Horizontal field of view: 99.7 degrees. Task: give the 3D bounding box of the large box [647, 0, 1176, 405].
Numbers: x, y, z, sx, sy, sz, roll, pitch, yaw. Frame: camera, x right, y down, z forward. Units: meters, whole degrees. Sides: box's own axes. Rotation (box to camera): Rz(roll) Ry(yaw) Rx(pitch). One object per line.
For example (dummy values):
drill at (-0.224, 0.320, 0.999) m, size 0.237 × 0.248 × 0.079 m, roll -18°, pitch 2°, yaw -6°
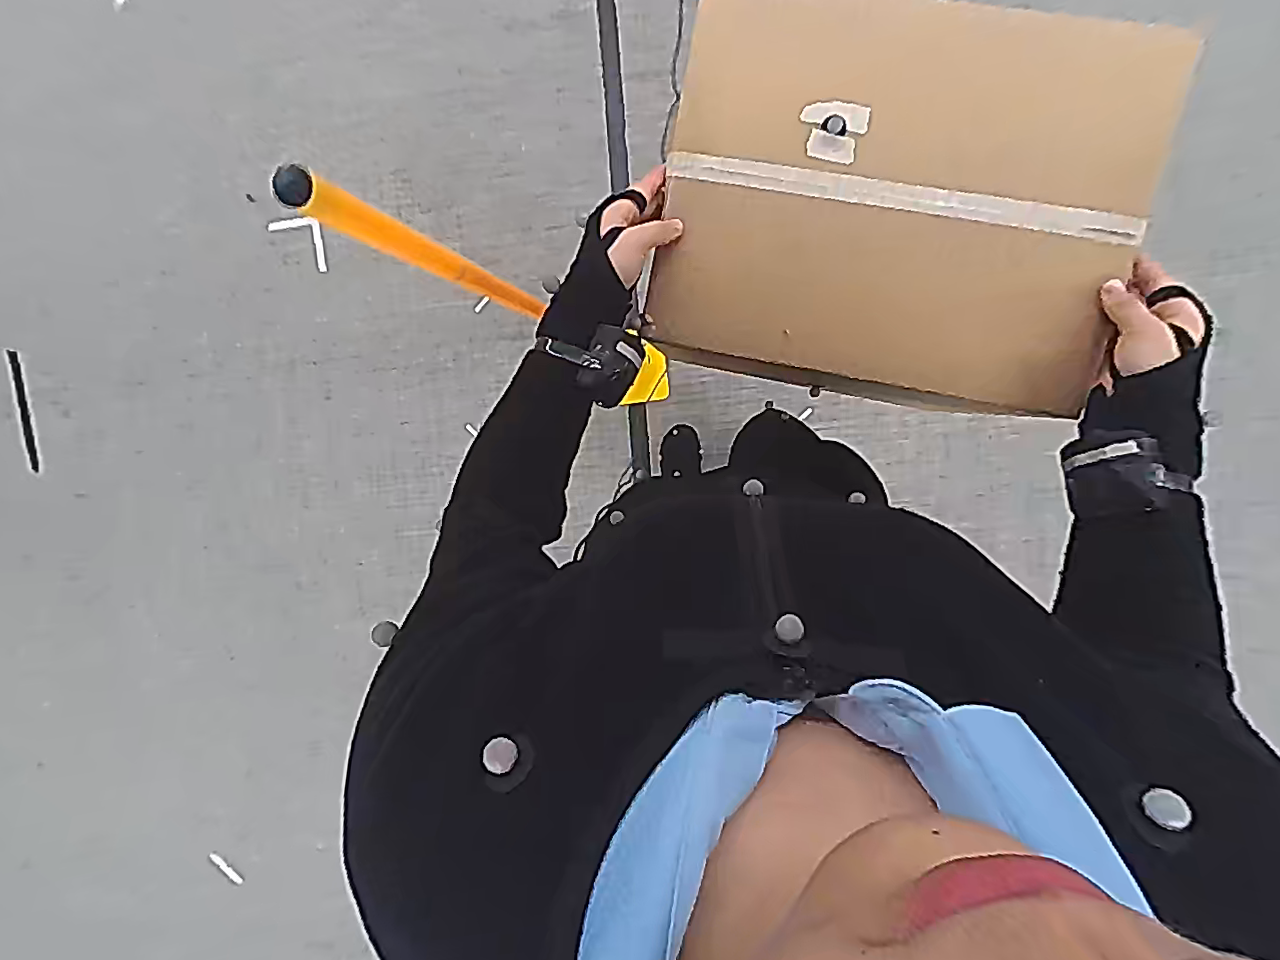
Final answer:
large box at (0.246, -0.273, 0.635) m, size 0.408 × 0.320 × 0.320 m, roll 12°, pitch 99°, yaw 6°
